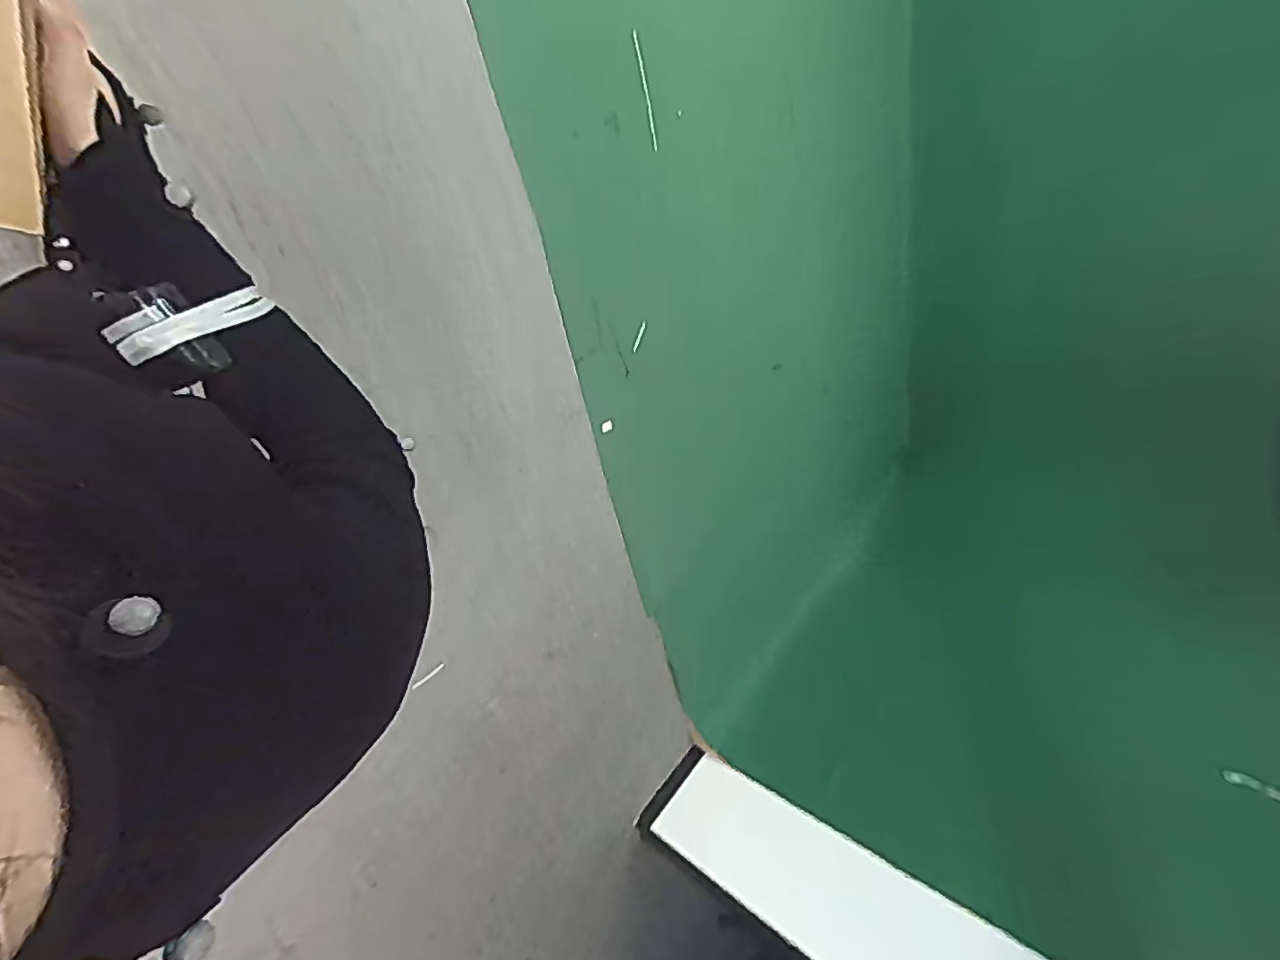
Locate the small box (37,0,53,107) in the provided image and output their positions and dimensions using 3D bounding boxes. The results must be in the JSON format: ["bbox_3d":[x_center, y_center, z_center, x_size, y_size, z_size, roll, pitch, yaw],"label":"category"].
[{"bbox_3d":[-0.466,-0.349,0.301,0.179,0.176,0.168,-8,134,-43],"label":"small box"}]

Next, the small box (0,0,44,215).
[{"bbox_3d":[-0.370,-0.247,0.217,0.168,0.176,0.179,-4,133,-44],"label":"small box"}]
